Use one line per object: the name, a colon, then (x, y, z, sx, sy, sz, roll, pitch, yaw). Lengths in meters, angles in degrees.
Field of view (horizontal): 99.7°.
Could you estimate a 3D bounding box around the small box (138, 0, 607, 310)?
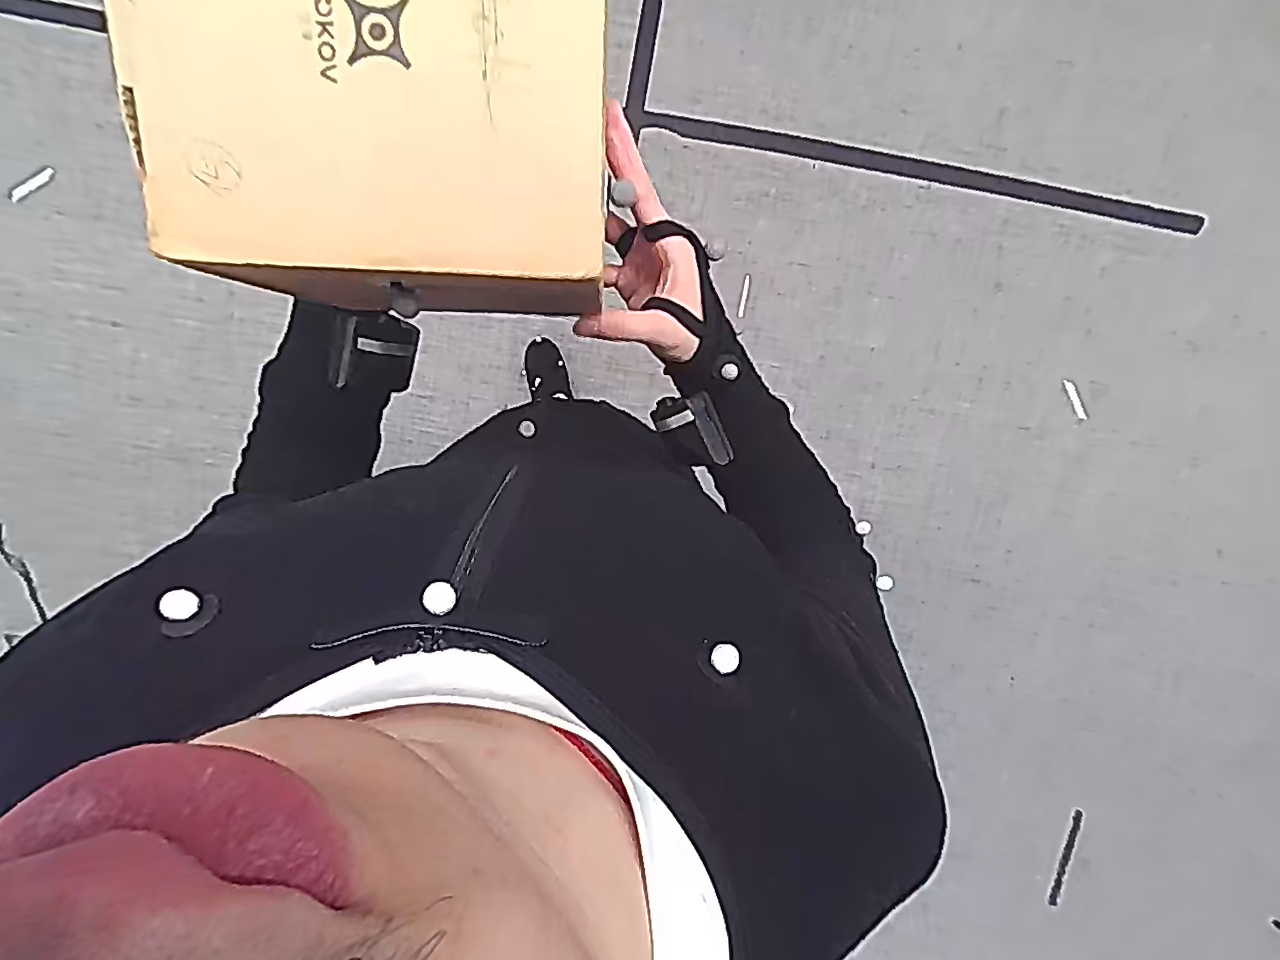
small box: (-0.106, -0.184, 0.286, 0.179, 0.176, 0.168, 0, 102, -4)
